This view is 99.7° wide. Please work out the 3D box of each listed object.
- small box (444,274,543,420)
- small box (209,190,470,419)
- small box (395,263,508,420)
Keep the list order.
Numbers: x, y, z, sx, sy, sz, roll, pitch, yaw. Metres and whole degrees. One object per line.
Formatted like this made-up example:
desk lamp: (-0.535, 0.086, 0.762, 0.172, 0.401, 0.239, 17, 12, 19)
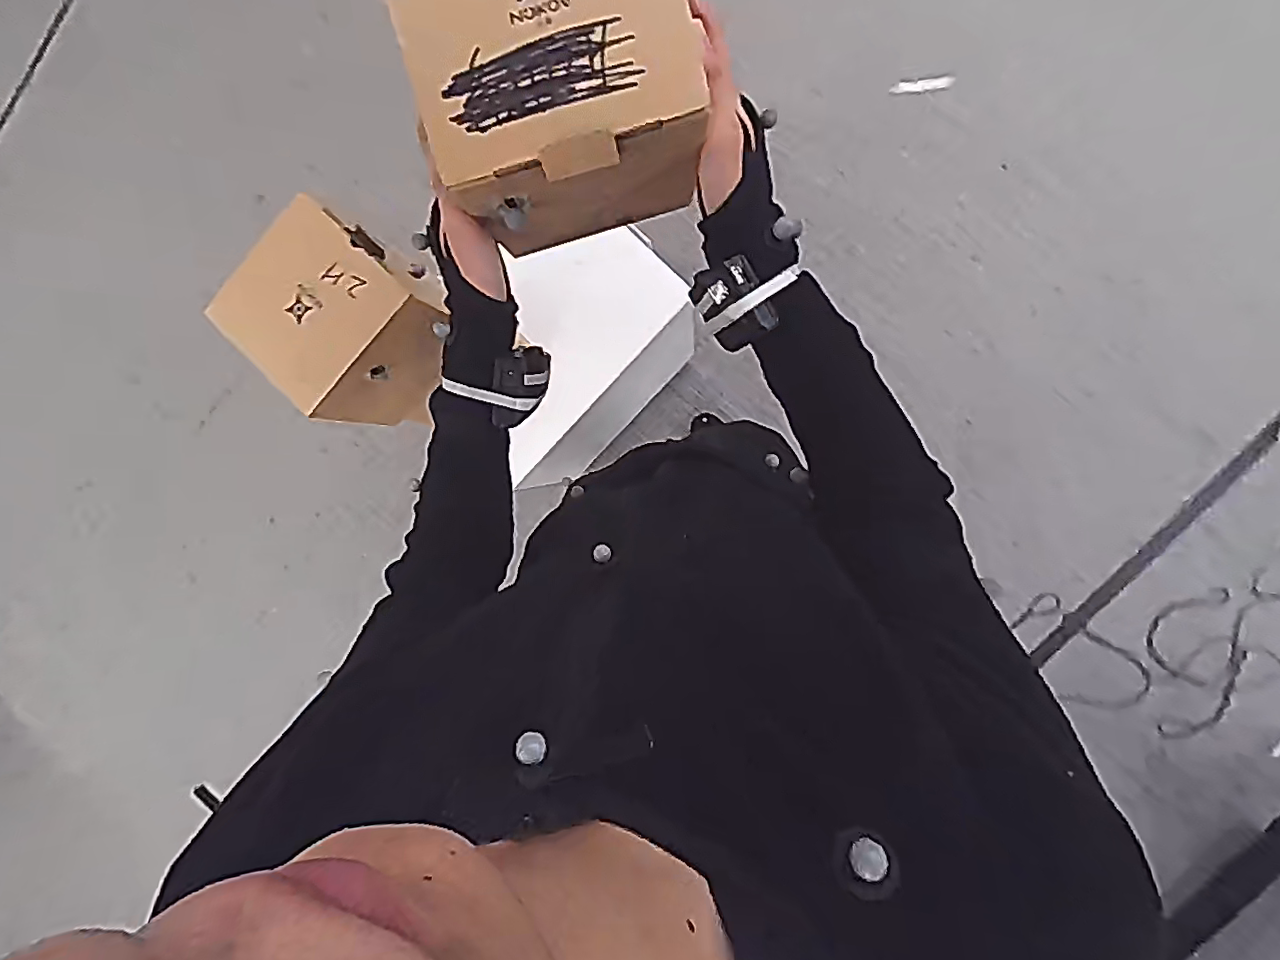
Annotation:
small box: (-0.300, -0.224, 0.968, 0.168, 0.176, 0.179, 45, 95, 3)
small box: (-0.338, -0.188, 0.644, 0.168, 0.176, 0.179, 44, 96, 2)
small box: (-0.330, -0.205, 0.808, 0.168, 0.176, 0.179, -44, 87, 6)
